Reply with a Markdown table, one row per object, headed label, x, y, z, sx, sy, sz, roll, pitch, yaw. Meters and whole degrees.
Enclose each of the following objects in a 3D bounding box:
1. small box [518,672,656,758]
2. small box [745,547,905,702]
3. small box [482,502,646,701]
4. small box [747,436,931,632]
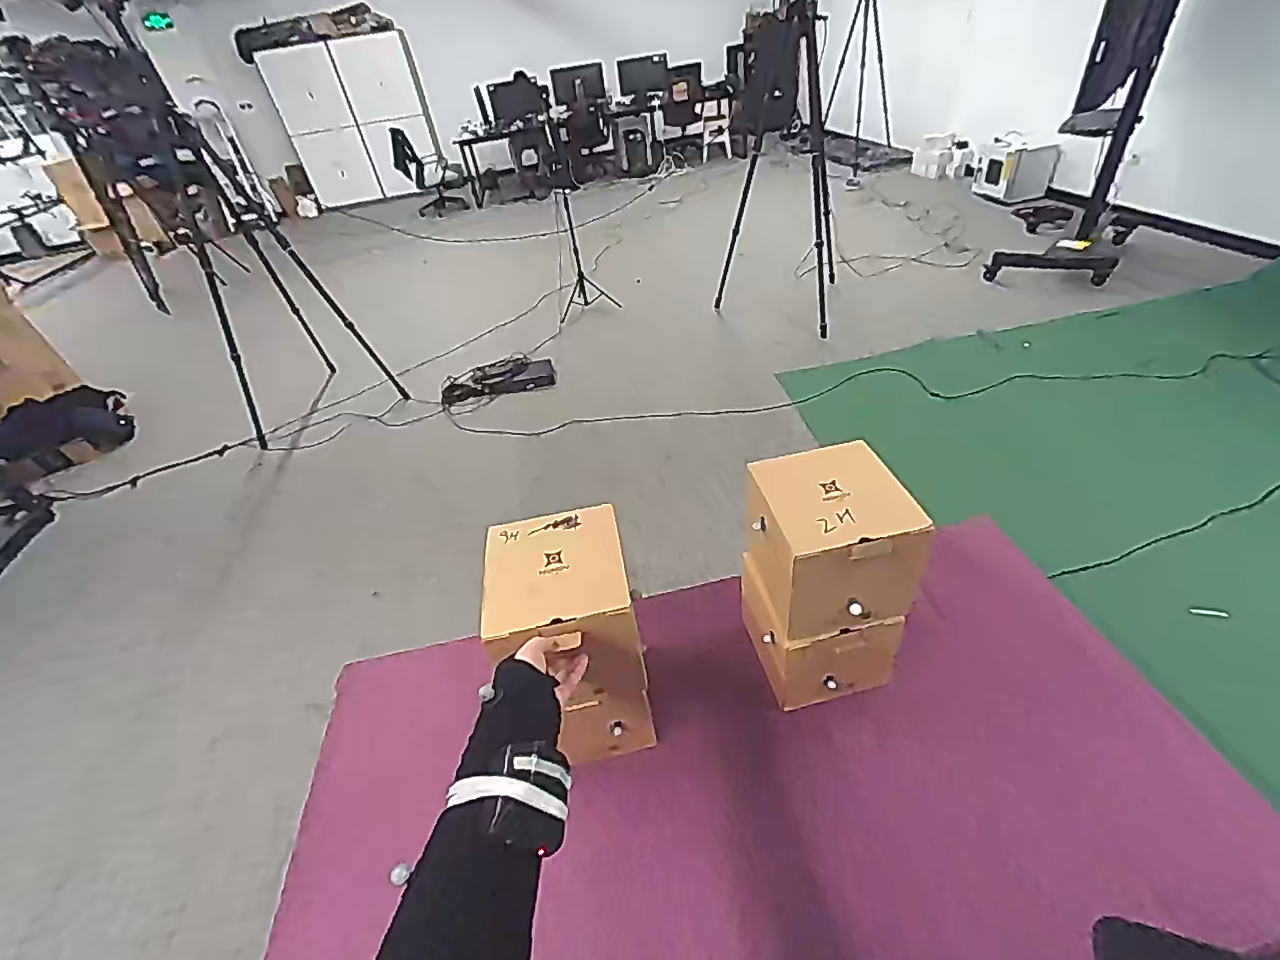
| label | x | y | z | sx | sy | sz | roll | pitch | yaw |
| --- | --- | --- | --- | --- | --- | --- | --- | --- | --- |
| small box | -0.076 | 0.284 | 0.795 | 0.168 | 0.176 | 0.179 | -12 | 40 | -3 |
| small box | 0.263 | 0.200 | 0.818 | 0.168 | 0.176 | 0.179 | -14 | 41 | -4 |
| small box | -0.091 | 0.159 | 0.688 | 0.168 | 0.176 | 0.179 | -11 | 41 | -3 |
| small box | 0.245 | 0.070 | 0.718 | 0.168 | 0.176 | 0.179 | -13 | 41 | -2 |
